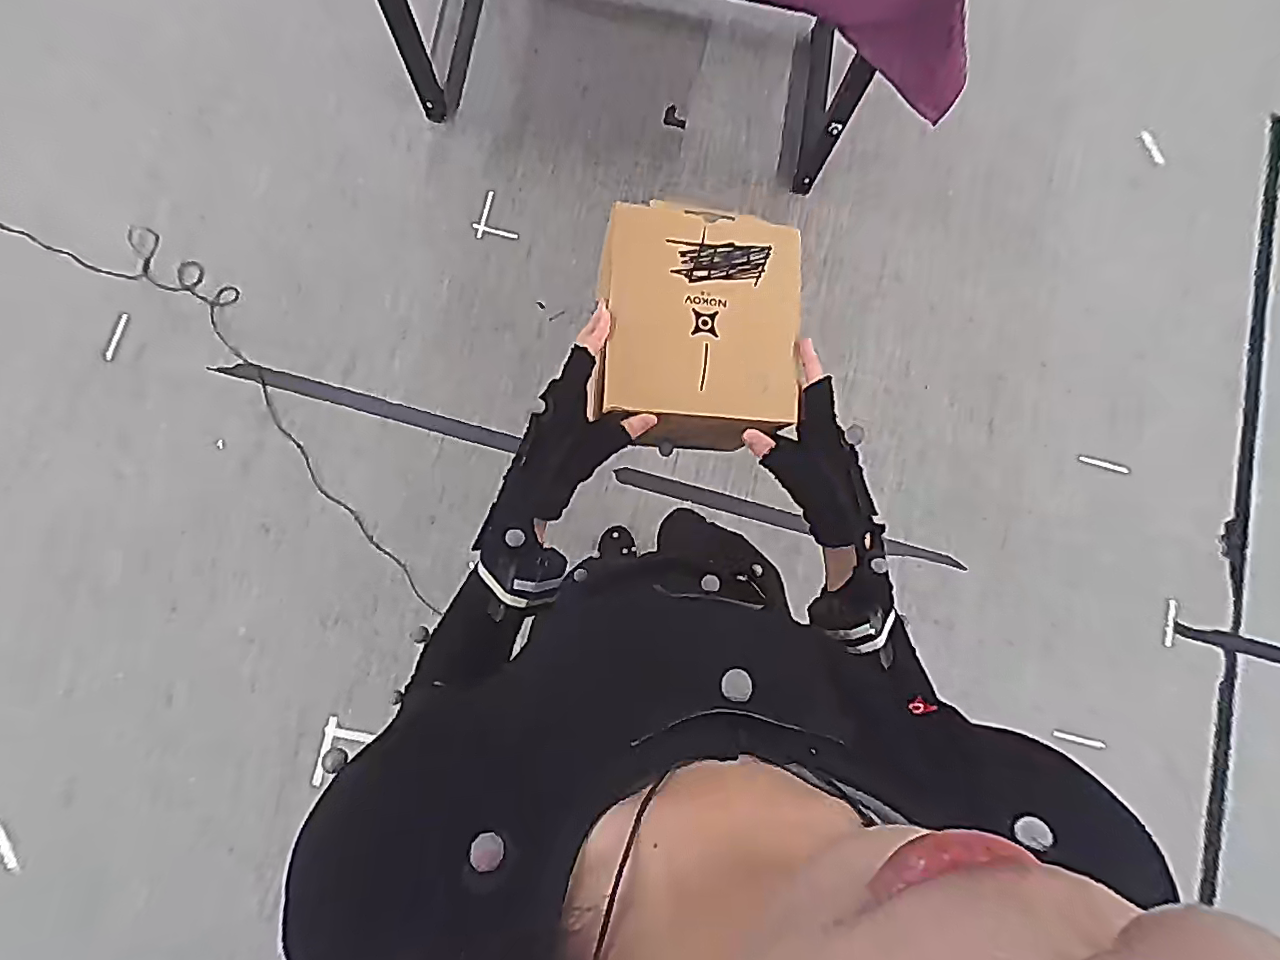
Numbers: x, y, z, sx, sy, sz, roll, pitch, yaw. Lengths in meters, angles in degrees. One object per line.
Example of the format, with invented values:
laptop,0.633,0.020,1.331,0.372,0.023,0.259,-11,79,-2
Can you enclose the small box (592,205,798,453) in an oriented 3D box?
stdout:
small box,0.041,-0.130,0.531,0.168,0.176,0.179,3,83,-8
